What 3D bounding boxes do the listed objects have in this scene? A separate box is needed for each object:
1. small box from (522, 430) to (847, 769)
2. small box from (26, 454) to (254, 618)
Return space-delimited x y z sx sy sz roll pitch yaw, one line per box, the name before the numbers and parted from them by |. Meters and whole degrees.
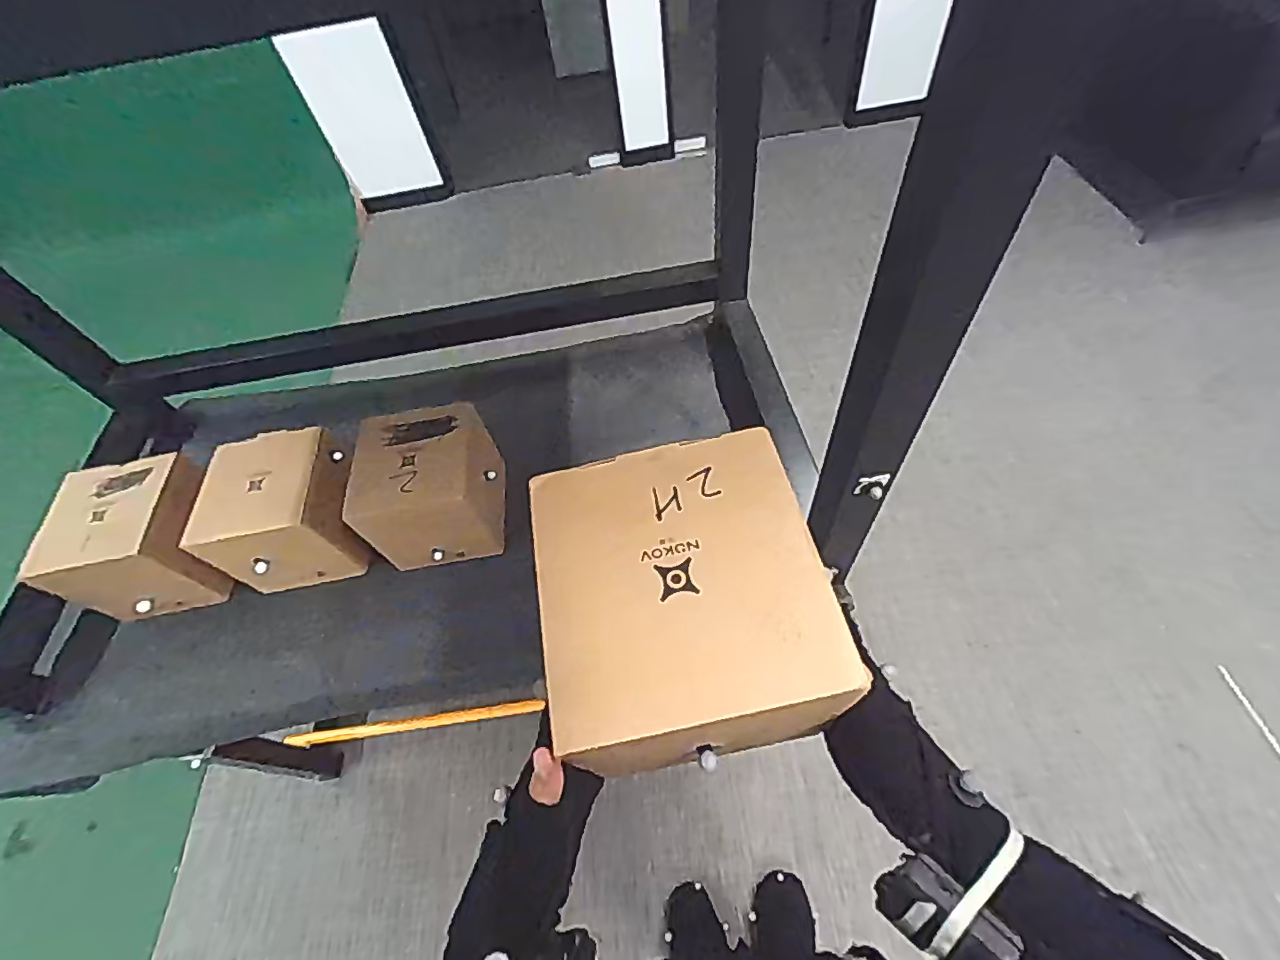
small box | 0.023 0.095 0.384 0.168 0.176 0.179 -12 57 0
small box | -0.738 0.089 0.828 0.168 0.176 0.179 -12 56 0
